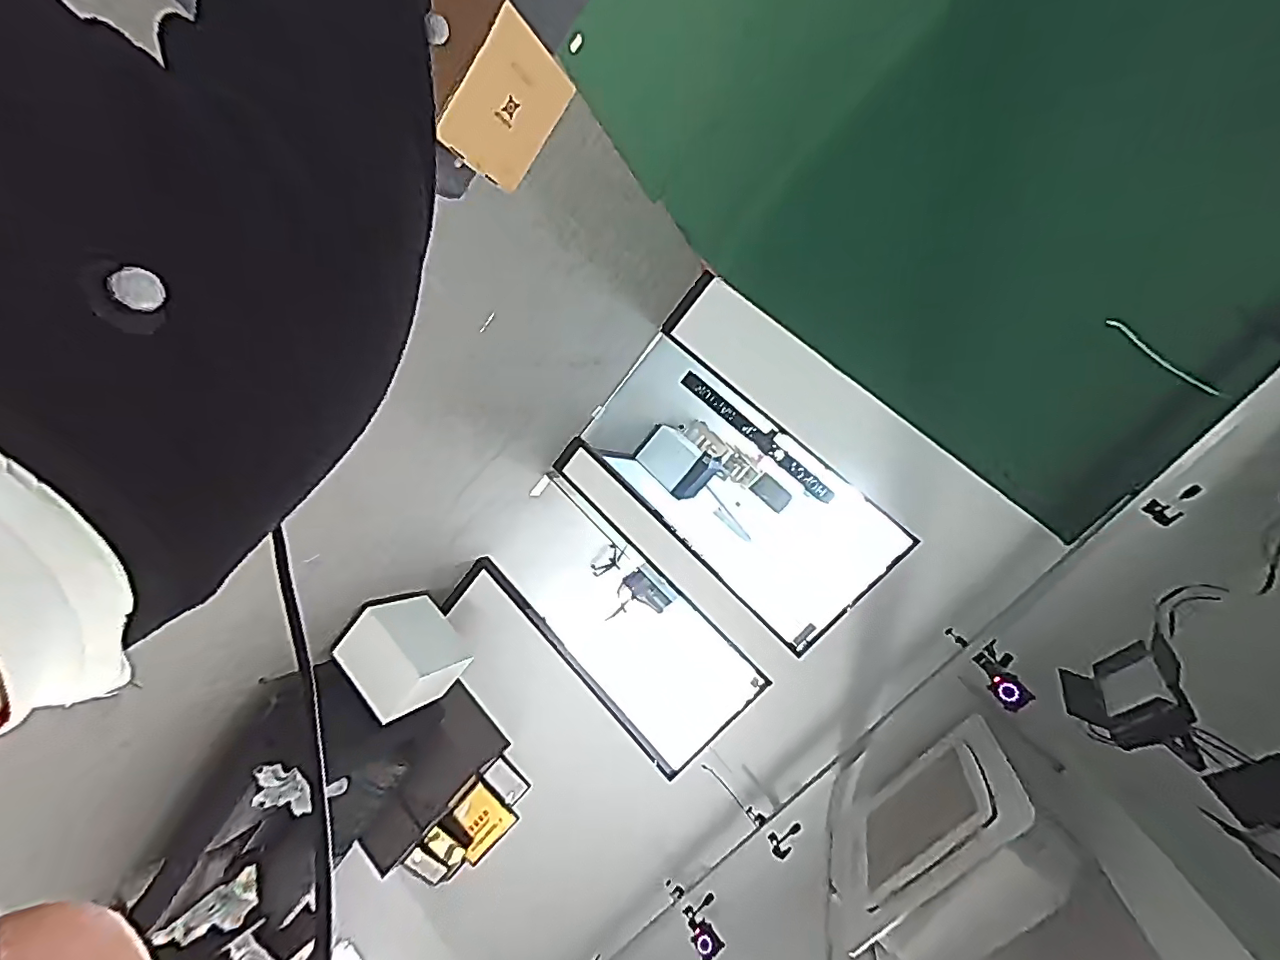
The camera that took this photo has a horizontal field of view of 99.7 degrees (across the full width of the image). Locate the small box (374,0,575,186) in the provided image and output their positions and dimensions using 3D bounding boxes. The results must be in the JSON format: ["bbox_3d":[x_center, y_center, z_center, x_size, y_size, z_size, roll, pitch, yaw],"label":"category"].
[{"bbox_3d":[-0.231,-0.561,0.747,0.179,0.176,0.168,-51,163,15],"label":"small box"}]
